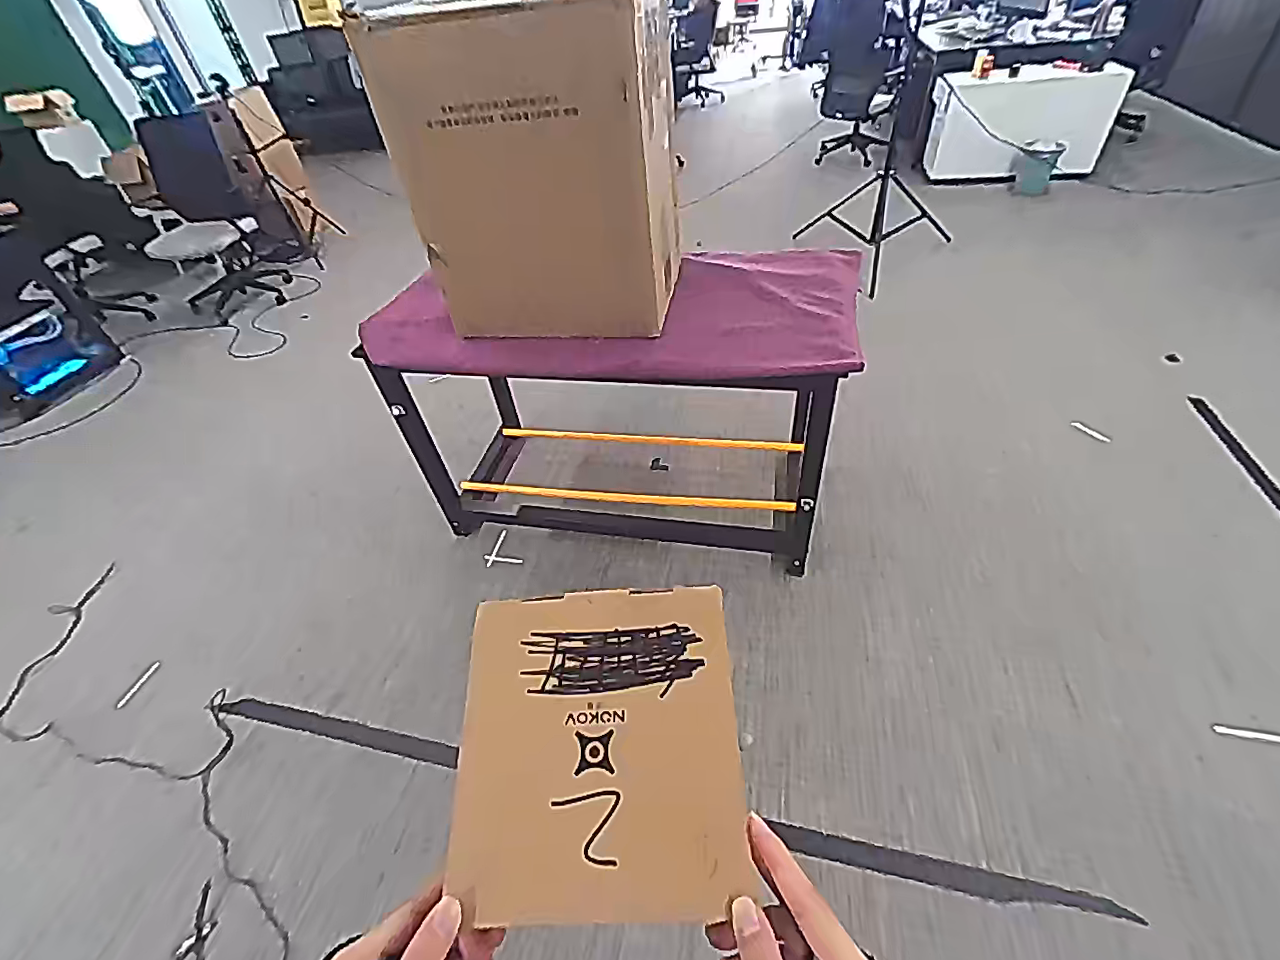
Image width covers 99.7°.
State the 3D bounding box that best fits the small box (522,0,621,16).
[{"bbox_3d":[-0.111,-0.887,0.882,0.168,0.176,0.179,5,45,14],"label":"small box"}]
